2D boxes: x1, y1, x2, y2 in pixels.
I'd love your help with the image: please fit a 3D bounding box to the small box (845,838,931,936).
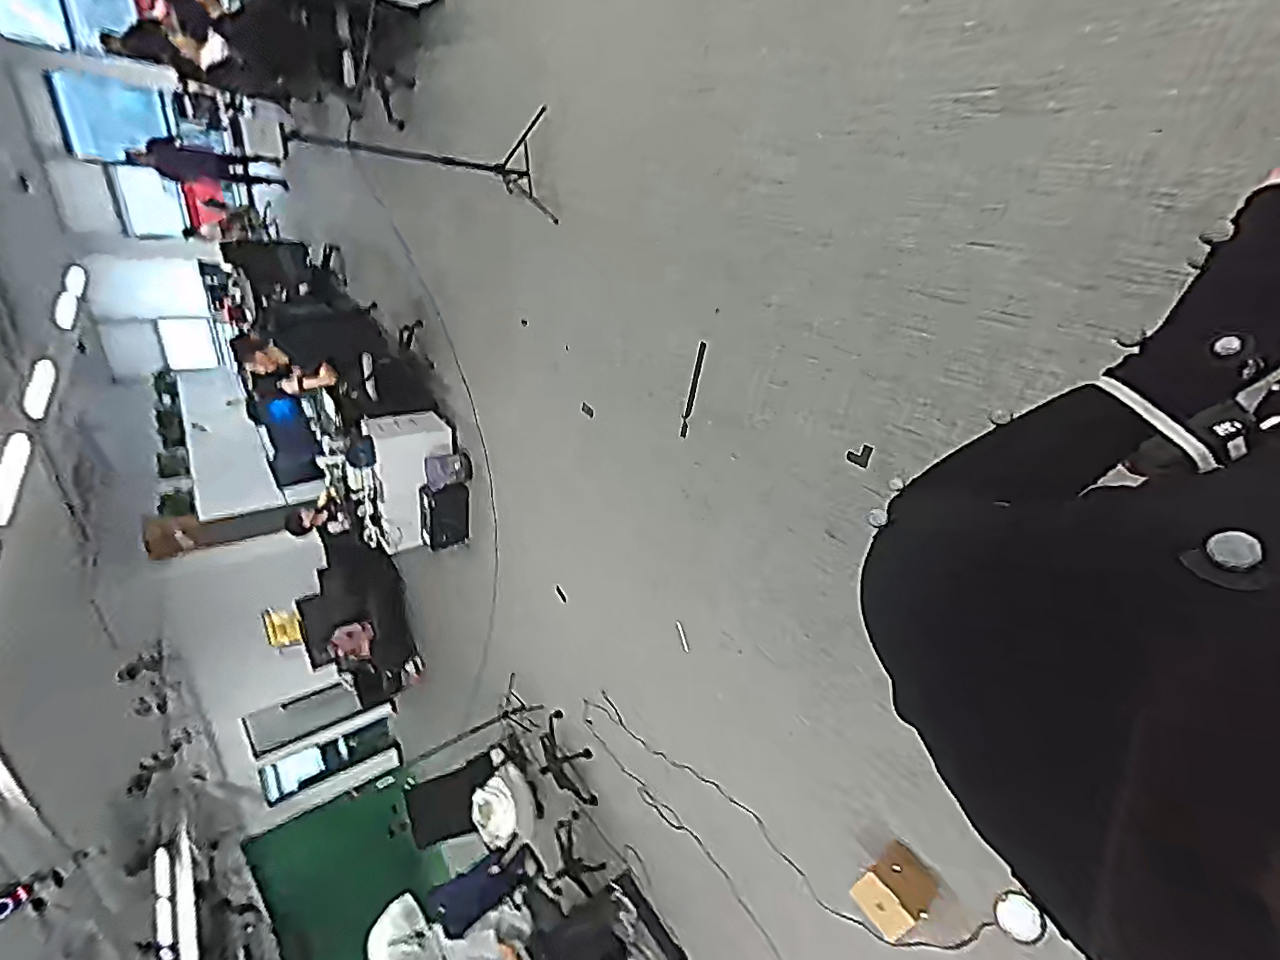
[{"bbox_3d":[0.814,1.322,1.766,0.168,0.176,0.179,44,134,36],"label":"small box"}]
